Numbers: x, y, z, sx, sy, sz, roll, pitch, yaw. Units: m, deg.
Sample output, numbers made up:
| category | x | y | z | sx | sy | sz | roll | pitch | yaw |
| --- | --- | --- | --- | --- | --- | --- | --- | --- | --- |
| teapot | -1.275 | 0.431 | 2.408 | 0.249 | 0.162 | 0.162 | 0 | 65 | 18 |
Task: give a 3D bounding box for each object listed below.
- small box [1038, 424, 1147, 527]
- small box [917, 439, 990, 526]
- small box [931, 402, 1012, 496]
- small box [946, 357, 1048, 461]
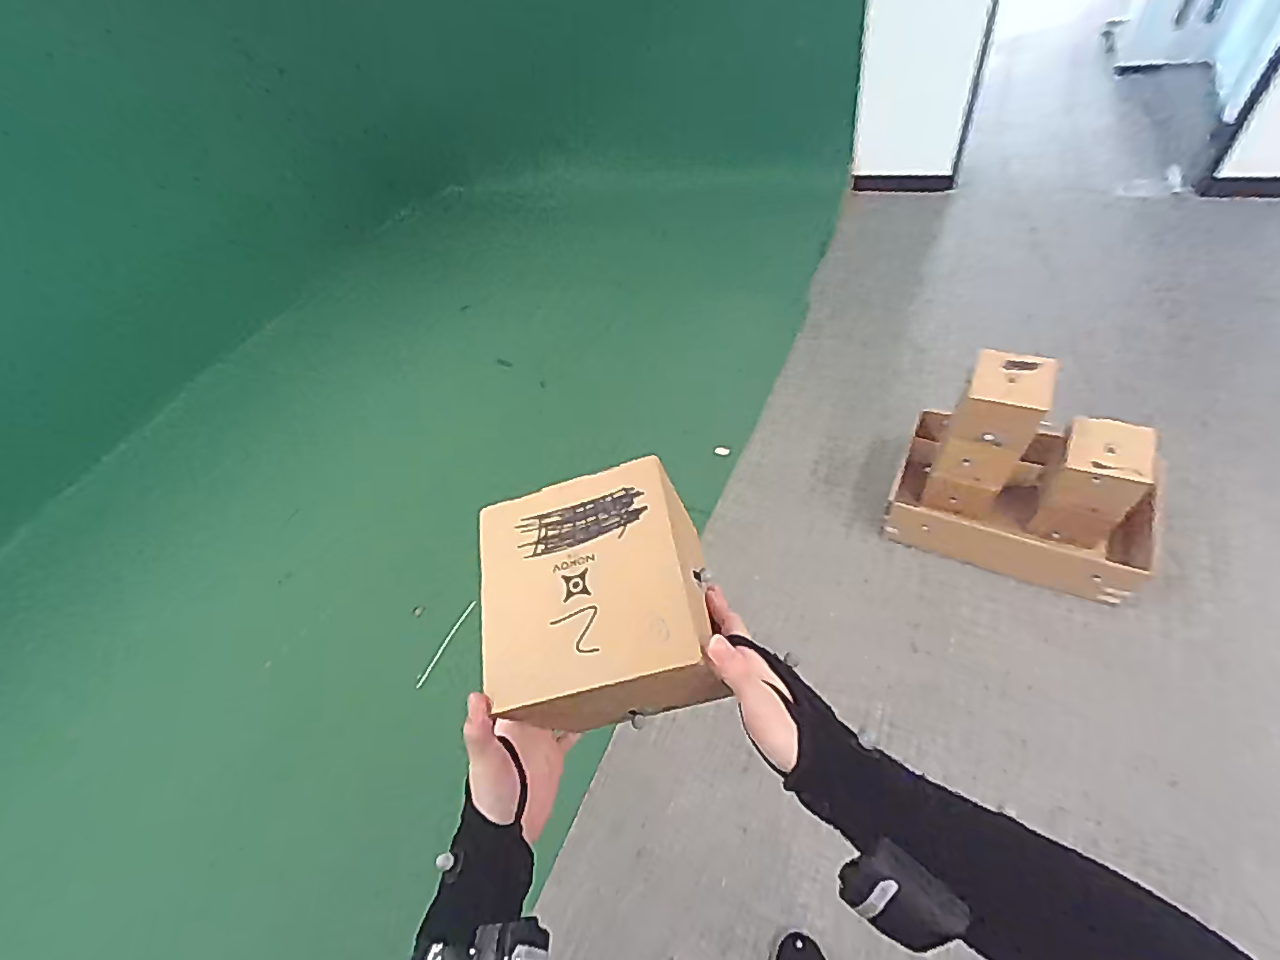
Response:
| category | x | y | z | sx | sy | sz | roll | pitch | yaw |
| --- | --- | --- | --- | --- | --- | --- | --- | --- | --- |
| small box | 1.146 | -0.010 | 1.378 | 0.168 | 0.176 | 0.179 | 16 | 59 | 27 |
| small box | 0.946 | 0.010 | 1.619 | 0.168 | 0.176 | 0.179 | 18 | 60 | 24 |
| small box | 0.918 | -0.082 | 1.490 | 0.168 | 0.176 | 0.179 | 16 | 59 | 24 |
| small box | 0.890 | -0.177 | 1.359 | 0.168 | 0.176 | 0.179 | 17 | 60 | 24 |
